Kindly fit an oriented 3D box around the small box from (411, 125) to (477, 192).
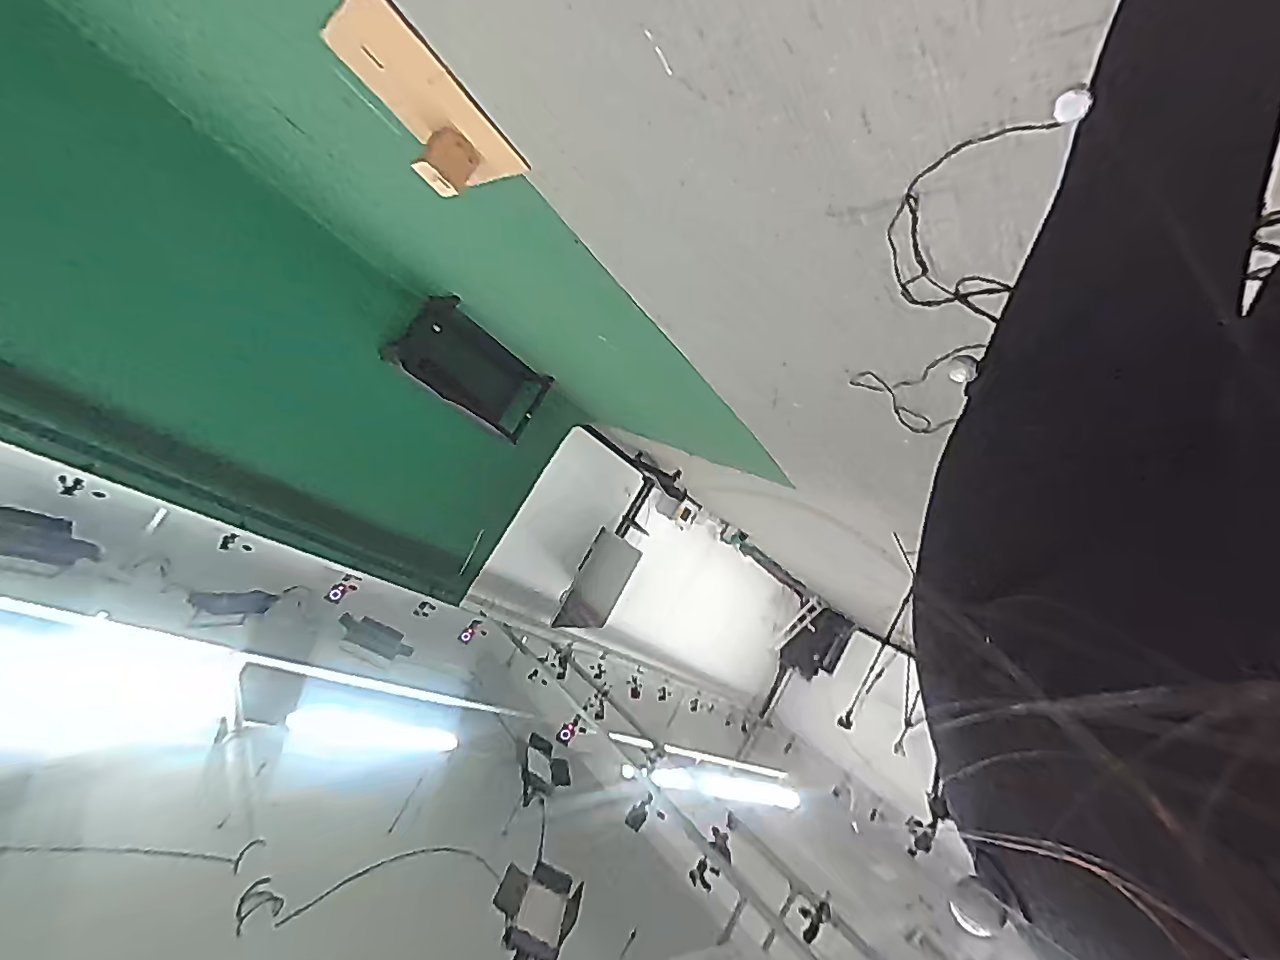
[{"bbox_3d":[-0.794,-1.313,2.206,0.179,0.176,0.168,26,172,44],"label":"small box"}]
